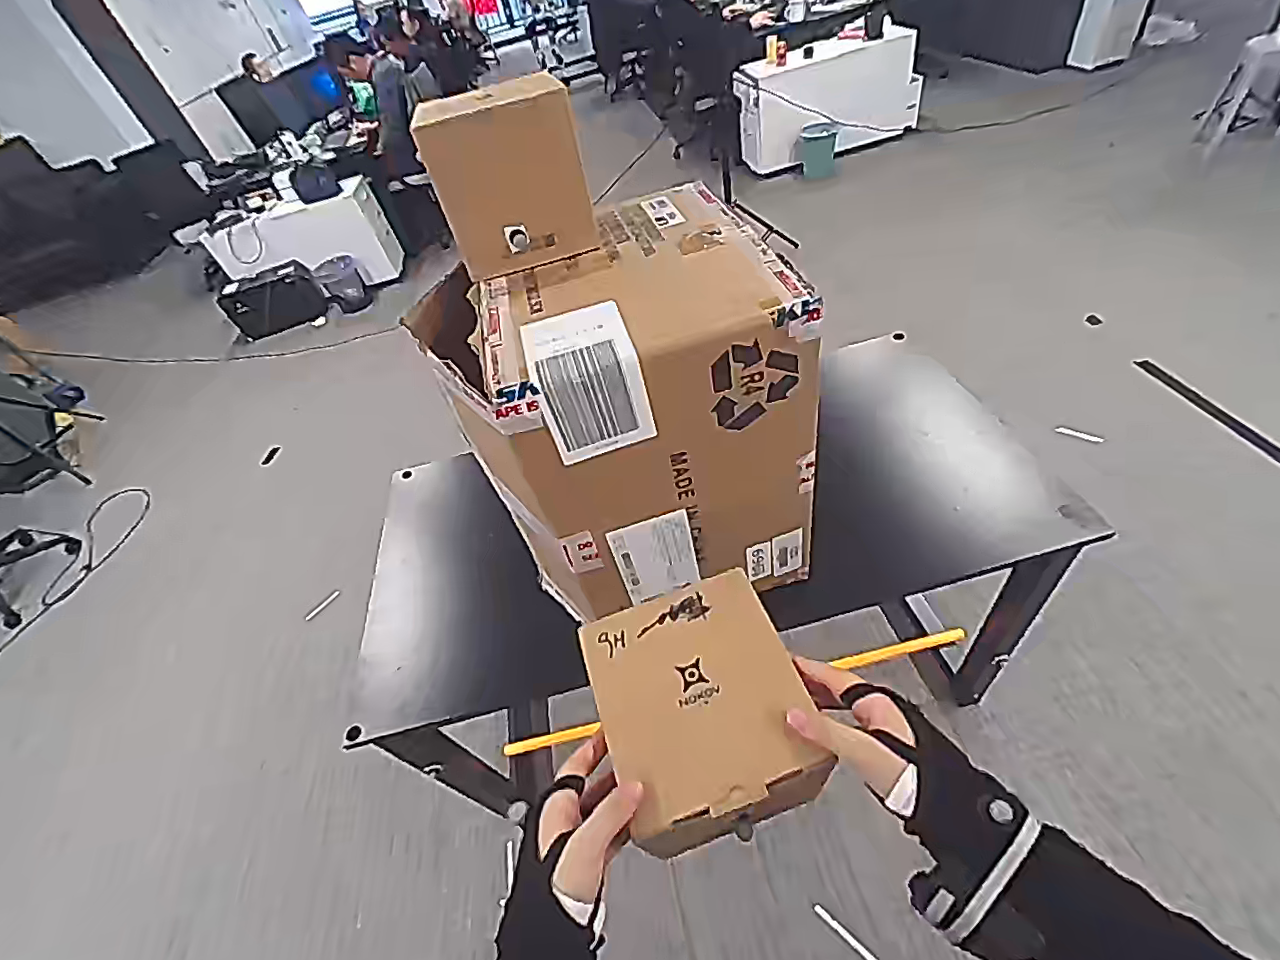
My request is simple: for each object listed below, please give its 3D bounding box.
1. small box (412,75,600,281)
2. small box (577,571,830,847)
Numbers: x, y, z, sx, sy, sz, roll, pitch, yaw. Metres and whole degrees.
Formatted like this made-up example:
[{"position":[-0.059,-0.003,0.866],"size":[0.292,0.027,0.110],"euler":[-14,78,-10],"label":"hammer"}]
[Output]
[{"position":[-0.159,-0.370,0.666],"size":[0.168,0.176,0.179],"euler":[-19,44,-3],"label":"small box"},{"position":[0.057,0.221,0.511],"size":[0.168,0.176,0.179],"euler":[-20,51,-4],"label":"small box"}]
